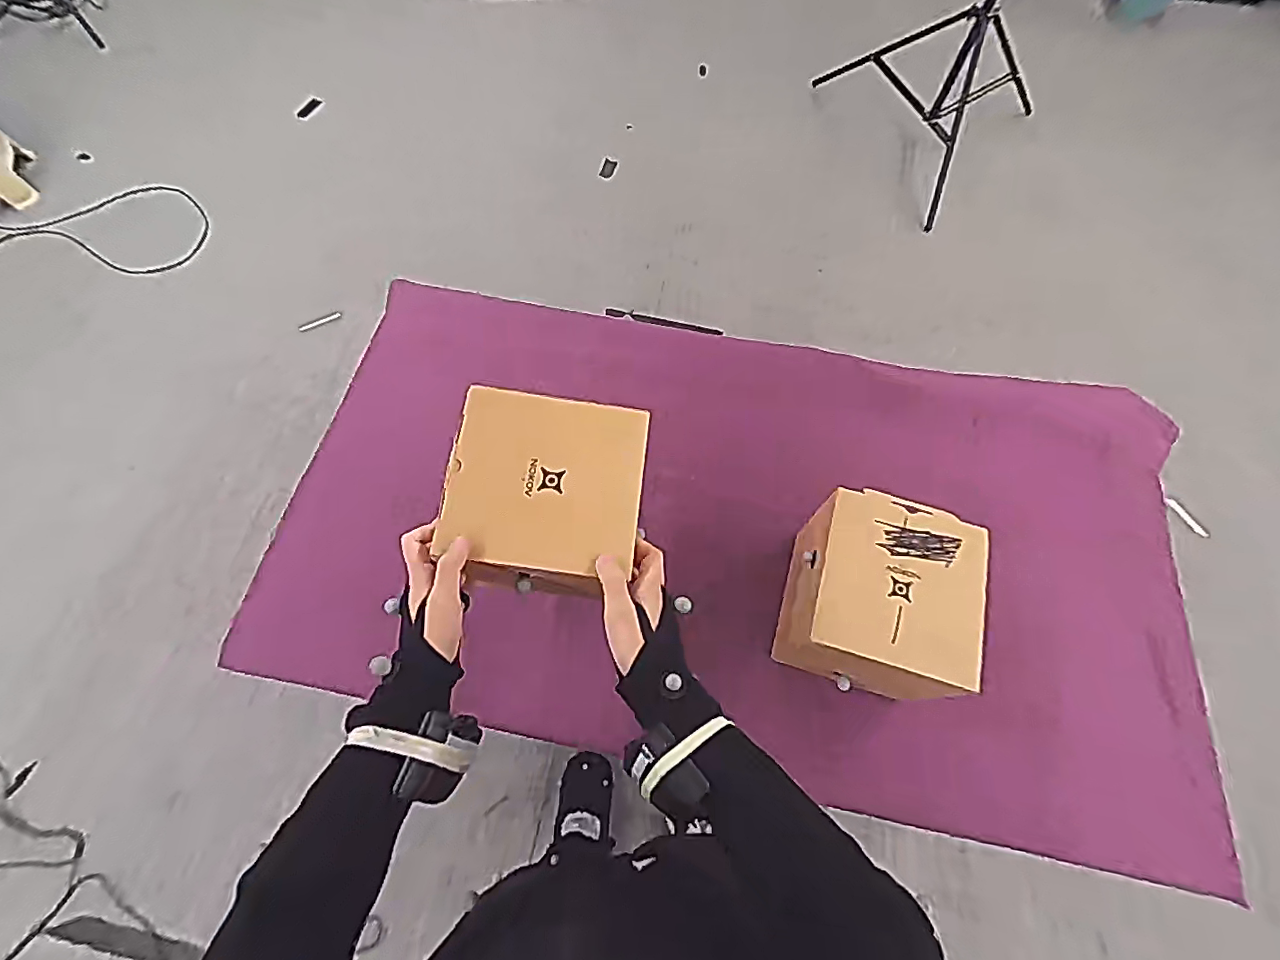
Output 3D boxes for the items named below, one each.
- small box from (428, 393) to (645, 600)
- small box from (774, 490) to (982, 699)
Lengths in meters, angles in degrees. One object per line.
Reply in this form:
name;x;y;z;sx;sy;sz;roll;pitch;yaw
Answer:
small box;-0.098;0.030;0.574;0.179;0.176;0.168;8;70;-3
small box;0.267;0.141;0.634;0.168;0.176;0.179;16;66;7
